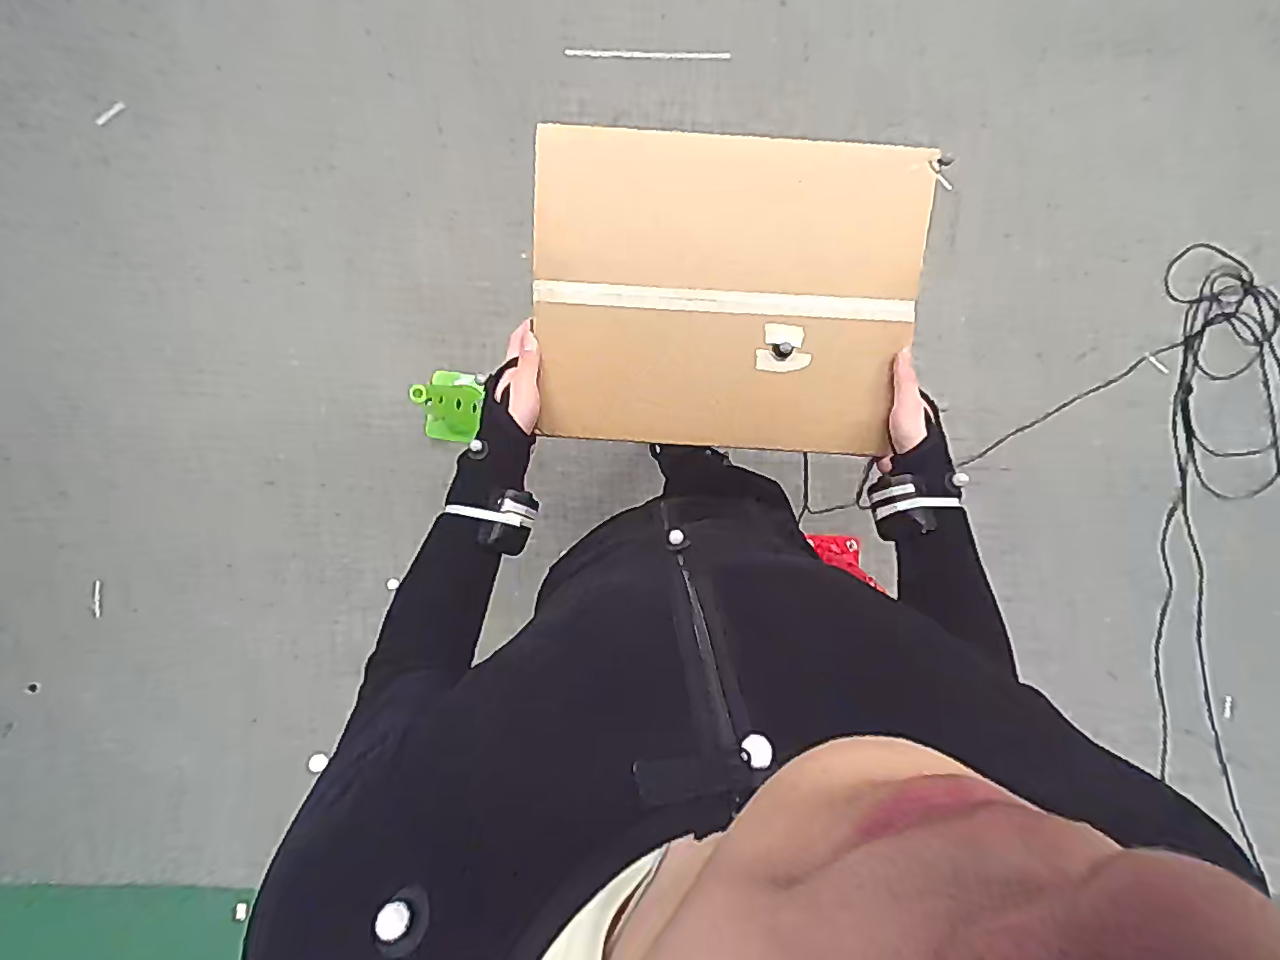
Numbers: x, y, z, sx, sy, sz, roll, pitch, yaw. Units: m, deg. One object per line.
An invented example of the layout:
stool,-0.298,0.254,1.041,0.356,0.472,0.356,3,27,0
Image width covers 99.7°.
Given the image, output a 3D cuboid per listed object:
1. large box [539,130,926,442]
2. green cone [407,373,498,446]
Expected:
large box,0.088,-0.231,0.727,0.408,0.320,0.320,3,104,-1
green cone,-0.522,-0.198,1.421,0.200,0.368,0.202,7,93,-1
